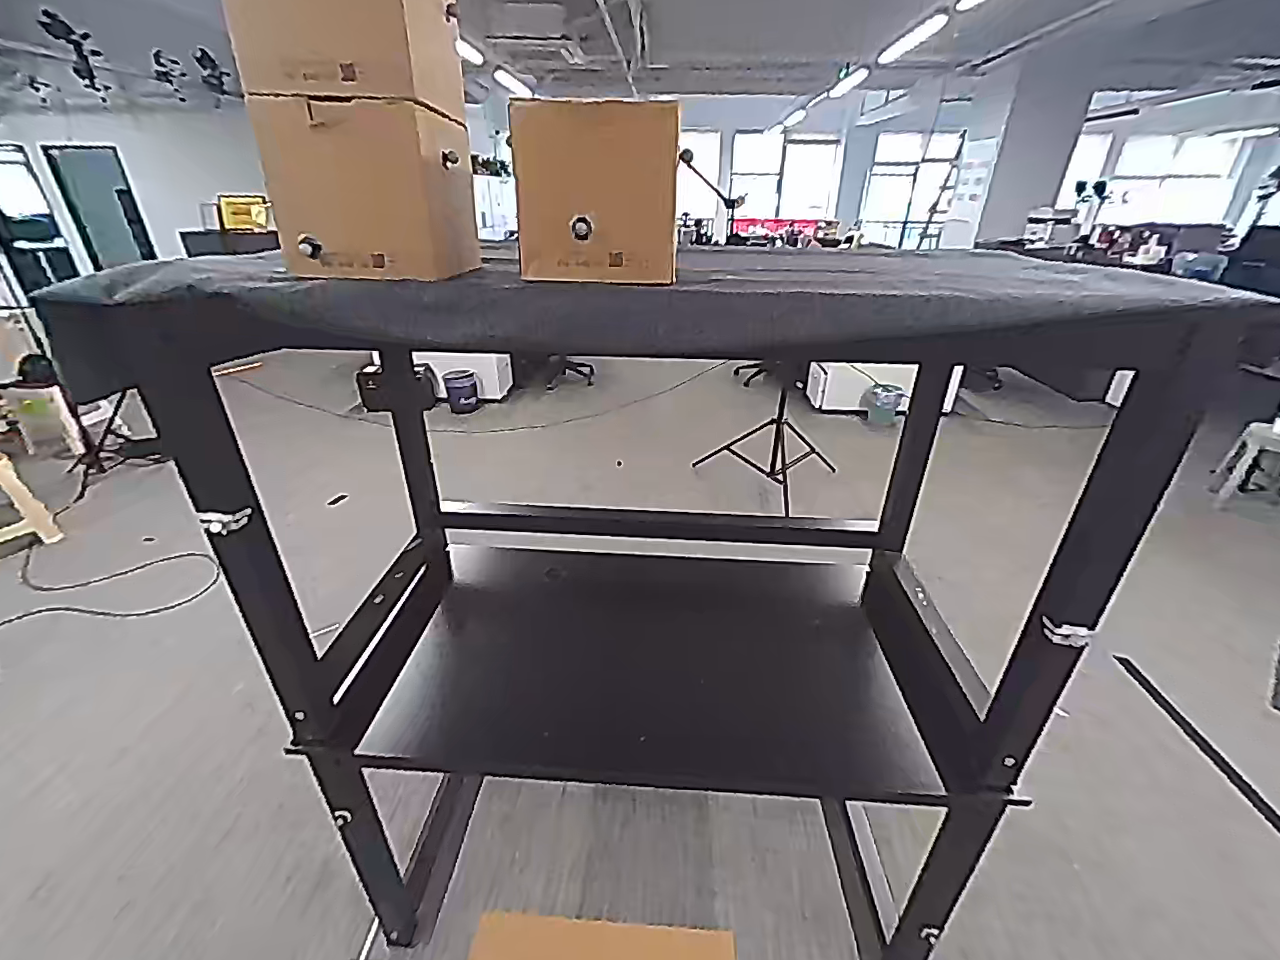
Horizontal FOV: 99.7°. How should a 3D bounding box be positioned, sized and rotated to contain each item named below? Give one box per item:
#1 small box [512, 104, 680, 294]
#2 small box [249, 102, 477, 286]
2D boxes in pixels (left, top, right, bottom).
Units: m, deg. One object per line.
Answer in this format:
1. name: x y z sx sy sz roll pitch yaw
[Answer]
1. small box: -0.041 -0.315 0.624 0.168 0.176 0.179 2 26 2
2. small box: -0.297 -0.322 0.630 0.168 0.176 0.179 2 25 0
